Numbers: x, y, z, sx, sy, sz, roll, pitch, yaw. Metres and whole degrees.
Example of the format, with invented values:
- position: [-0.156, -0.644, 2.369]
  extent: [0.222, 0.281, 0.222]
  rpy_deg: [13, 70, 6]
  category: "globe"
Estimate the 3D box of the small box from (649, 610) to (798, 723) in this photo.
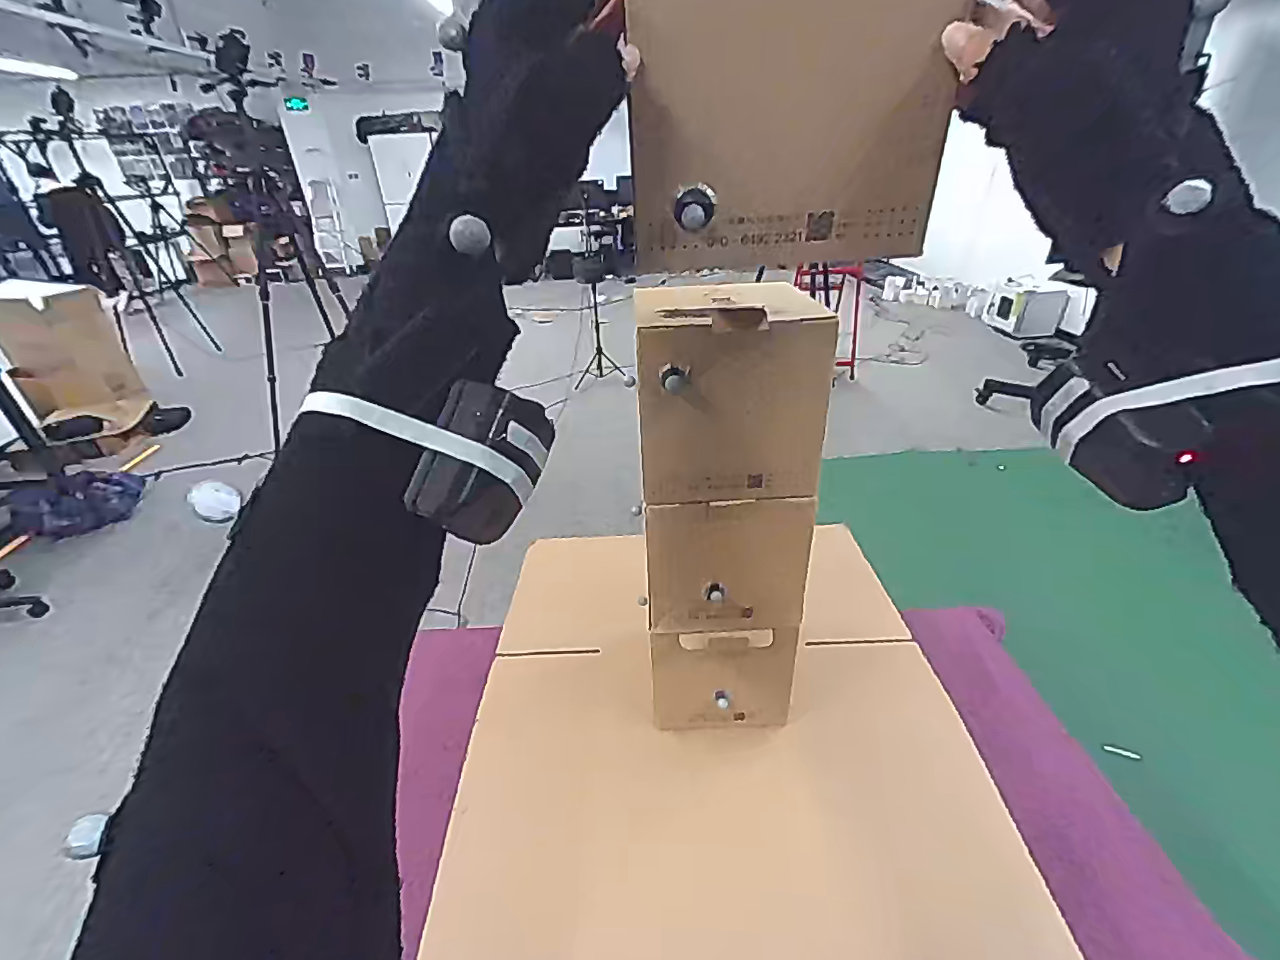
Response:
- position: [0.095, 0.188, 0.704]
  extent: [0.168, 0.176, 0.179]
  rpy_deg: [-2, 30, 1]
  category: "small box"

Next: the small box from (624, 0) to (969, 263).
- position: [0.079, -0.240, 0.339]
  extent: [0.168, 0.176, 0.179]
  rpy_deg: [-4, 35, -1]
  category: "small box"

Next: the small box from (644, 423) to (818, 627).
- position: [0.088, 0.046, 0.623]
  extent: [0.168, 0.176, 0.179]
  rpy_deg: [-2, 30, -1]
  category: "small box"
